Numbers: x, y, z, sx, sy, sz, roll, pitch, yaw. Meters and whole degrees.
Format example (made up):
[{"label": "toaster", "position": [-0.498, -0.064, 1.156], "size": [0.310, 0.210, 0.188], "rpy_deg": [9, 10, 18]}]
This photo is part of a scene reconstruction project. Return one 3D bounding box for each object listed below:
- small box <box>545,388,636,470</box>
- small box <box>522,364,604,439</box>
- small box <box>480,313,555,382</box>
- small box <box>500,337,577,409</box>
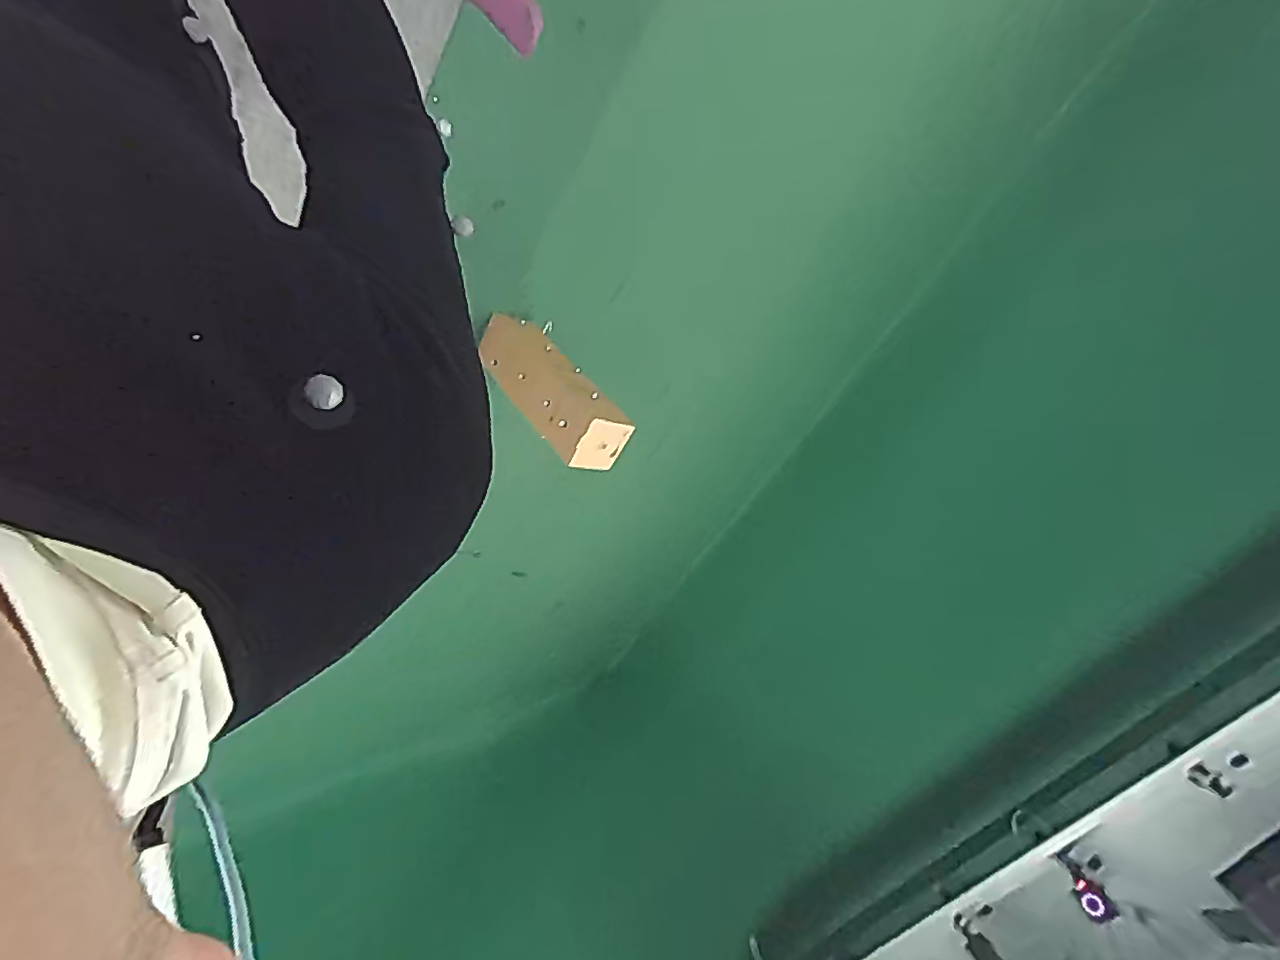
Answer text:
[{"label": "small box", "position": [-0.152, -0.152, 1.597], "size": [0.179, 0.176, 0.168], "rpy_deg": [6, 124, -49]}, {"label": "small box", "position": [-0.245, -0.243, 1.697], "size": [0.168, 0.176, 0.179], "rpy_deg": [2, 129, -47]}, {"label": "small box", "position": [-0.430, -0.447, 1.871], "size": [0.168, 0.176, 0.179], "rpy_deg": [1, 129, -48]}, {"label": "small box", "position": [-0.339, -0.343, 1.787], "size": [0.168, 0.176, 0.179], "rpy_deg": [4, 126, -49]}]
